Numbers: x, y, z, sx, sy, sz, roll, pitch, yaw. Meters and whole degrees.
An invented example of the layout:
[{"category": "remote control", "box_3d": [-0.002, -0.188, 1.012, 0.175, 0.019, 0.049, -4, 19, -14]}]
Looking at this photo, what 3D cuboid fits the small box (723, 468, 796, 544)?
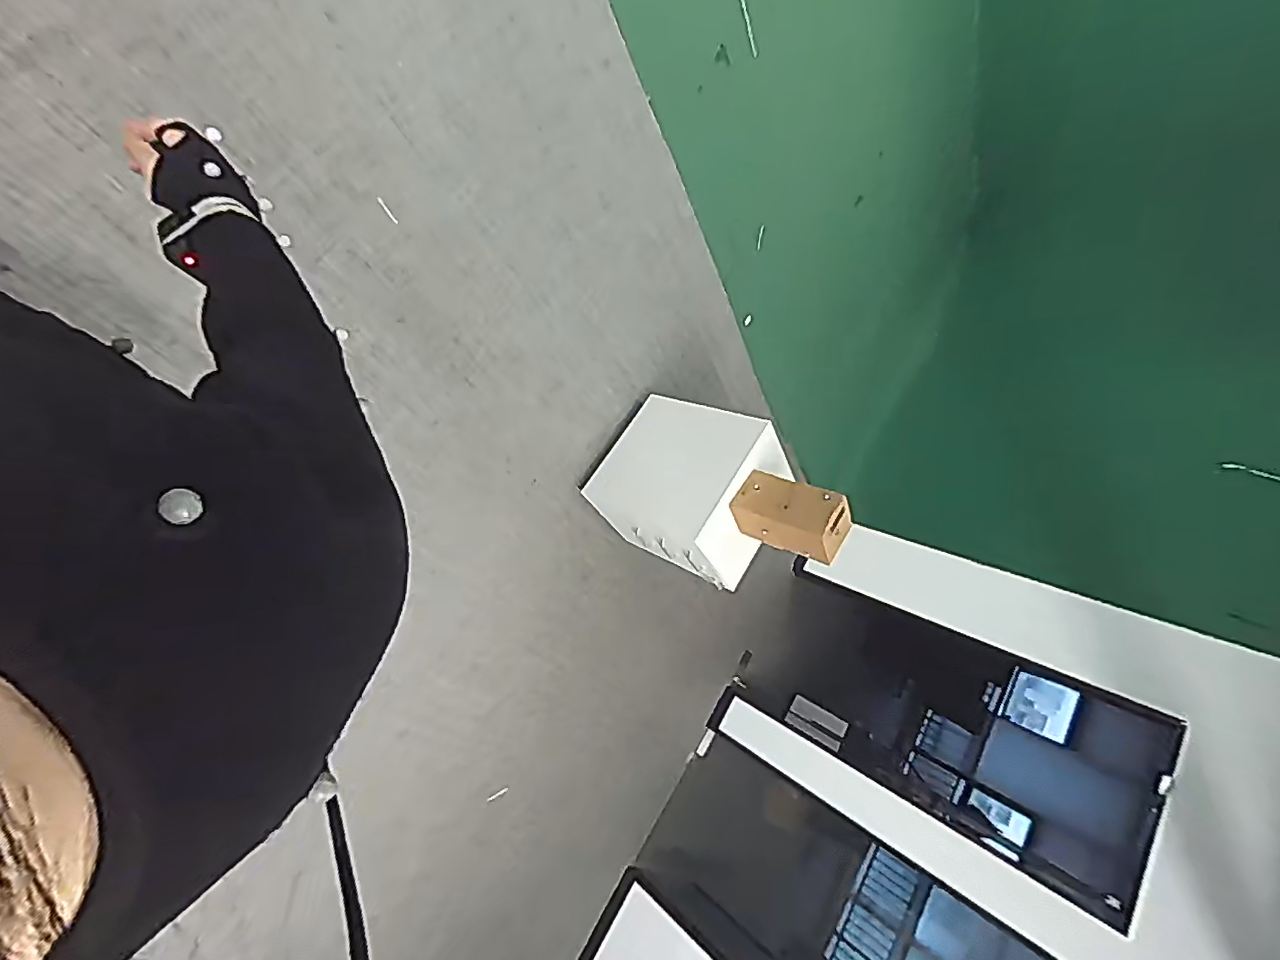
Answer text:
[{"category": "small box", "box_3d": [0.406, 0.083, 1.835, 0.168, 0.176, 0.179, -51, 138, -21]}]
